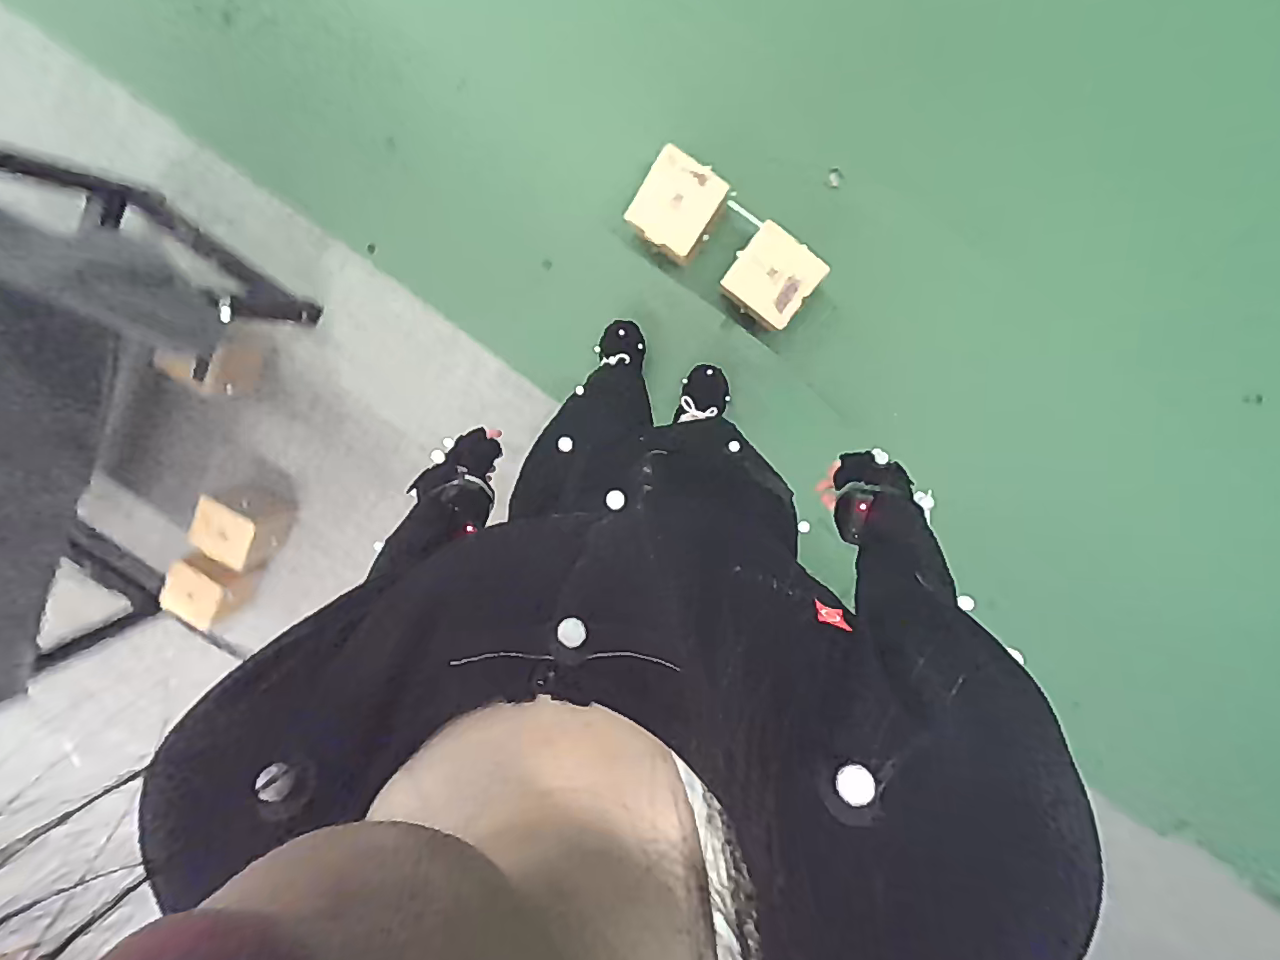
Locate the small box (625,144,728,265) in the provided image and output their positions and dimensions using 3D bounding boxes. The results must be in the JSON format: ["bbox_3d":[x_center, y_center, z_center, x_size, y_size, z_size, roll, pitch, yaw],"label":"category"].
[{"bbox_3d":[0.091,-0.621,1.247,0.168,0.176,0.179,35,107,-2],"label":"small box"}]

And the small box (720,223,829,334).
[{"bbox_3d":[0.304,-0.461,1.259,0.179,0.176,0.168,38,106,-3],"label":"small box"}]
